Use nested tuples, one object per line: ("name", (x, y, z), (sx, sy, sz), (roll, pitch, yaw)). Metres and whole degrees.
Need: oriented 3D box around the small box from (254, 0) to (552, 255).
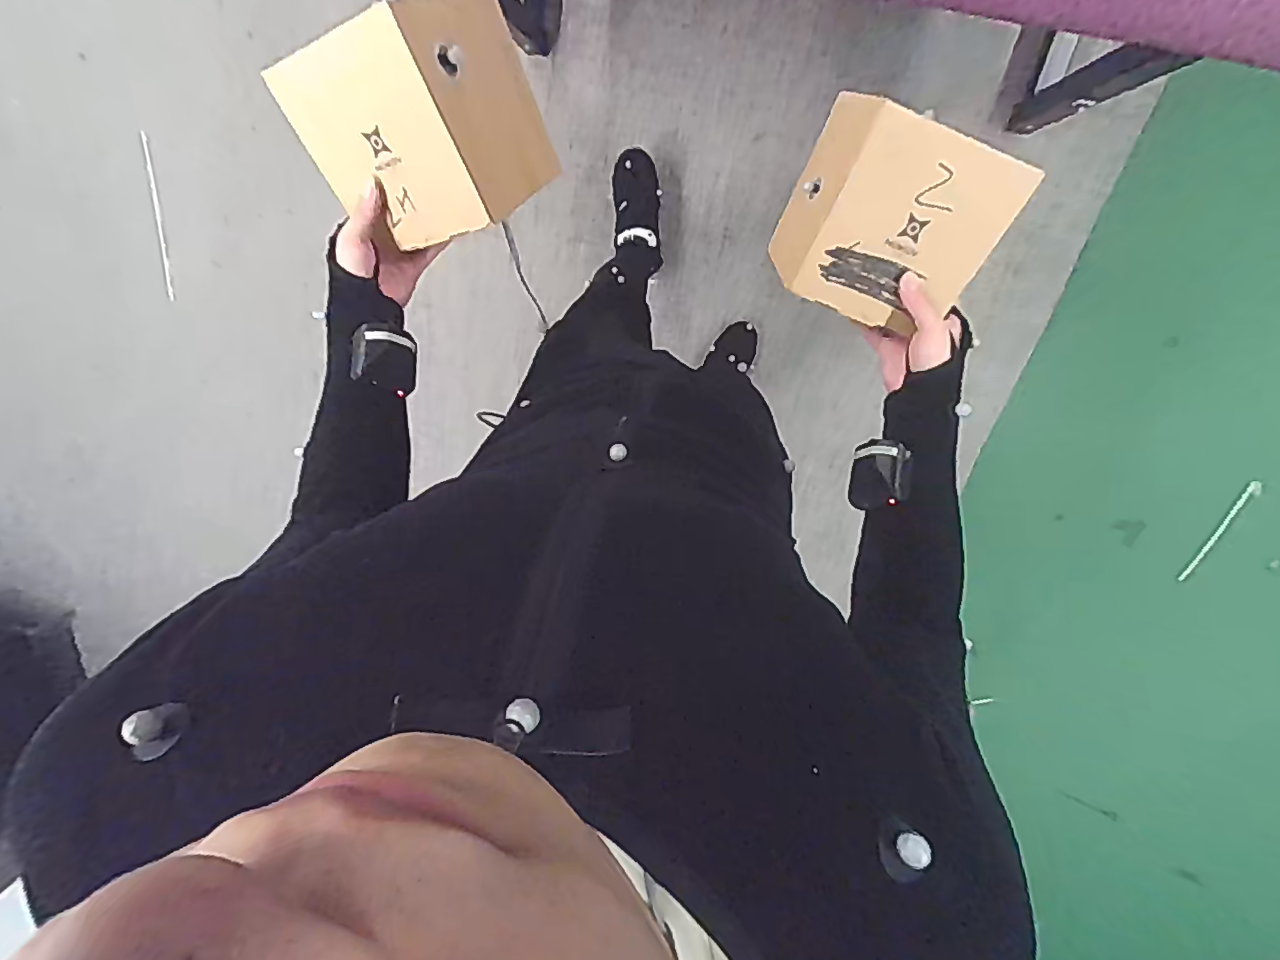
("small box", (-0.217, -0.358, 0.544), (0.168, 0.176, 0.179), (-1, 134, 26))
